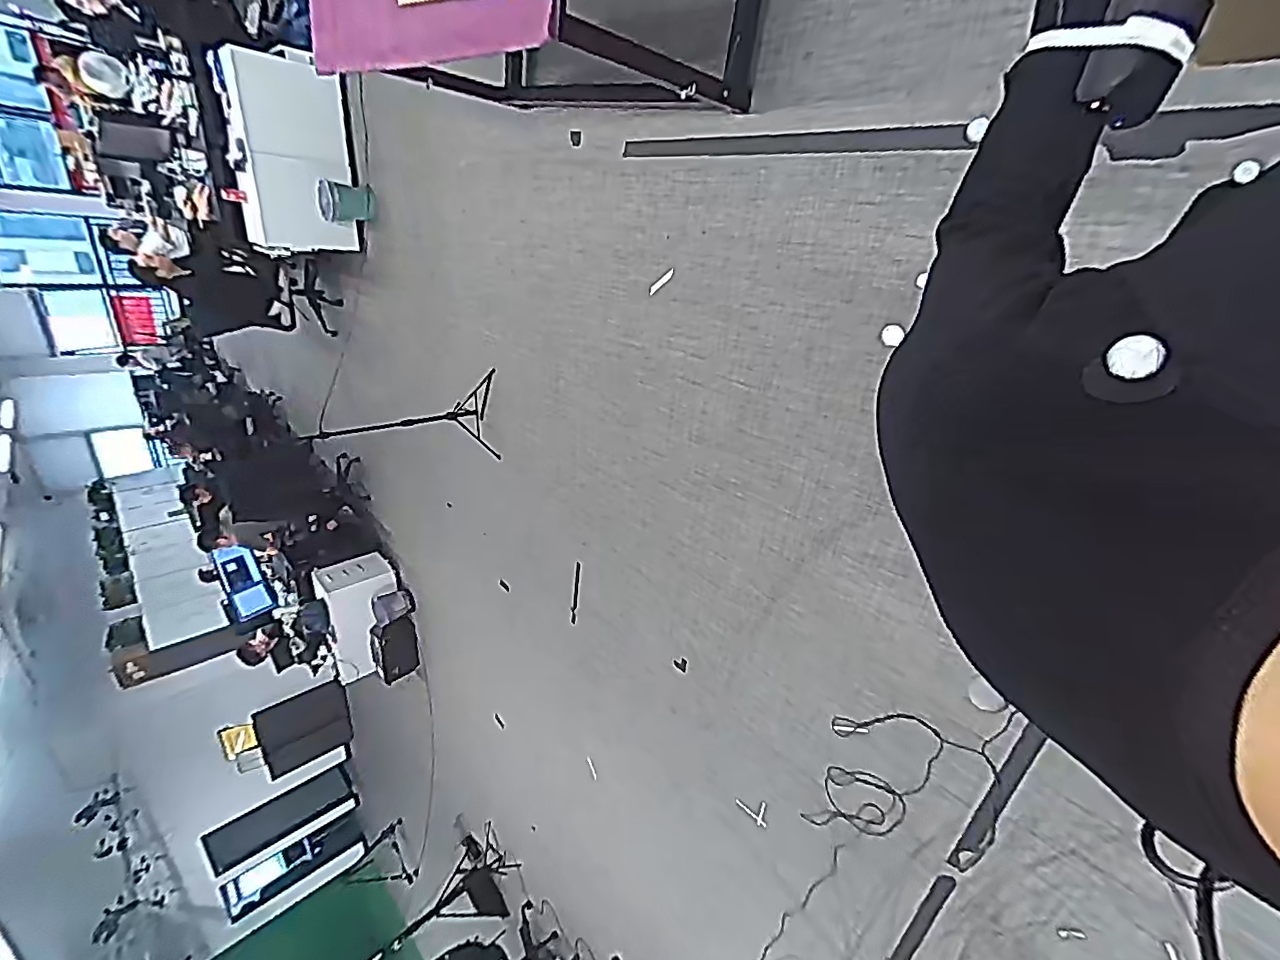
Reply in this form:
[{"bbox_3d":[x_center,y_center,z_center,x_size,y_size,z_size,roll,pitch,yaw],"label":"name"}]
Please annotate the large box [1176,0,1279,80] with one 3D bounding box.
[{"bbox_3d":[0.589,-0.433,0.260,0.408,0.320,0.320,25,125,38],"label":"large box"}]
